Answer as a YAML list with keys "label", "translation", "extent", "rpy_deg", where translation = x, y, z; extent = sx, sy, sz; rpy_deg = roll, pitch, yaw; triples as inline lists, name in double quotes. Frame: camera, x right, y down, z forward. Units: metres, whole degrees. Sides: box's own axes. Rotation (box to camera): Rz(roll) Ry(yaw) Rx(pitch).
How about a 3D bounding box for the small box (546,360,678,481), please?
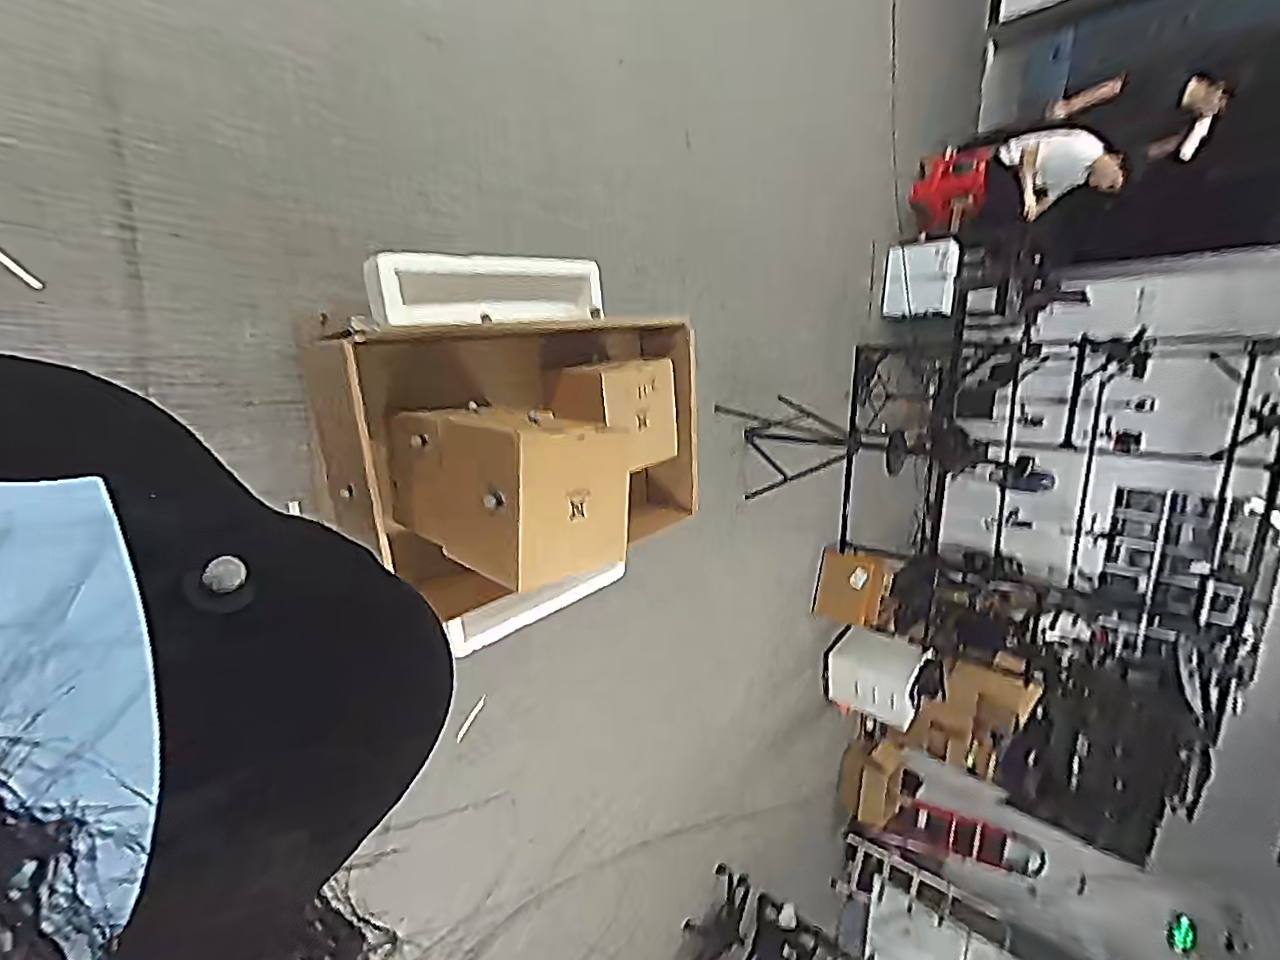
- label: "small box"
  translation: [-0.049, -0.115, 0.965]
  extent: [0.168, 0.176, 0.179]
  rpy_deg: [-21, 114, -42]
